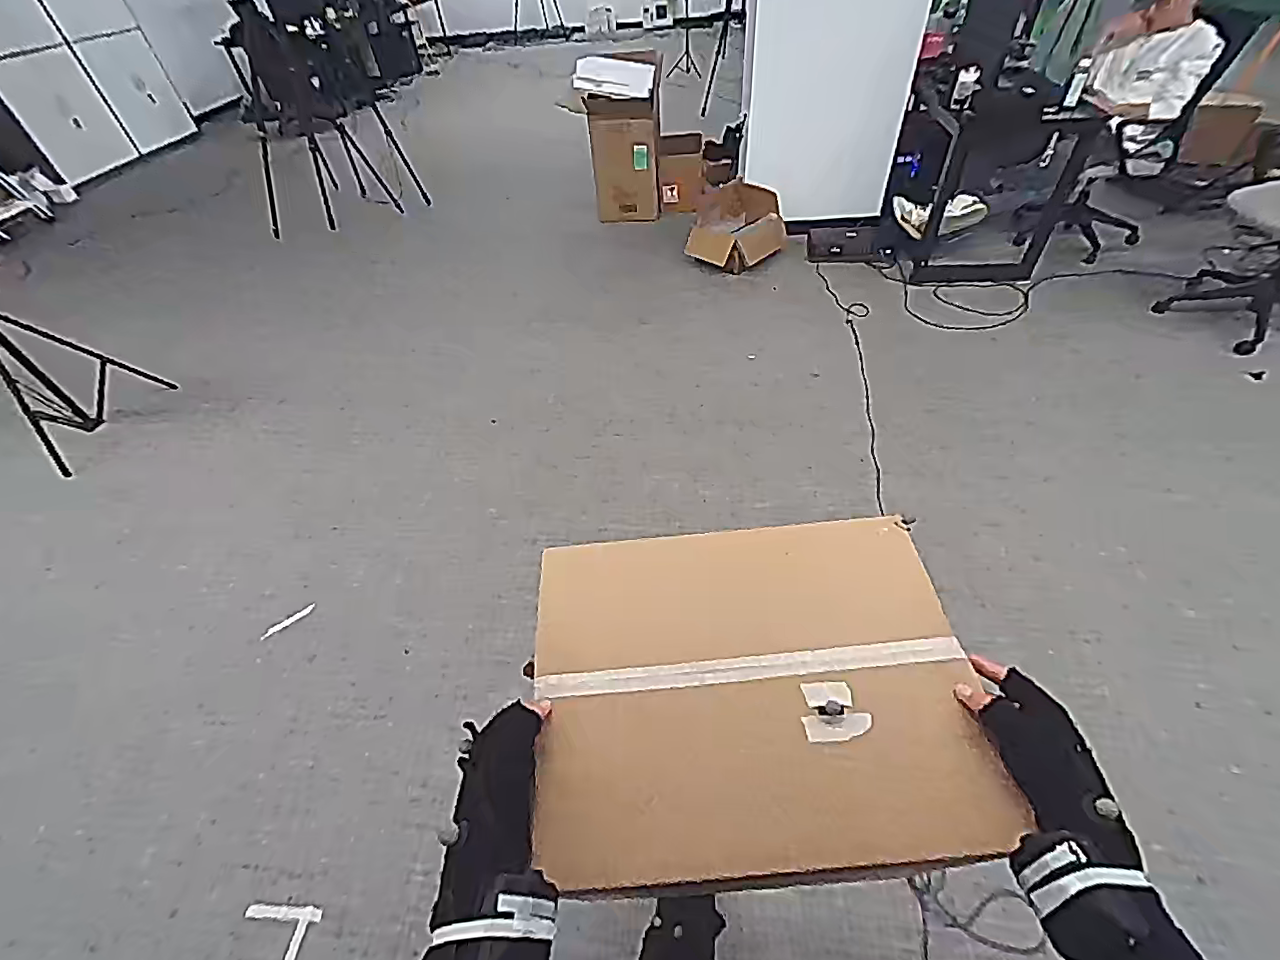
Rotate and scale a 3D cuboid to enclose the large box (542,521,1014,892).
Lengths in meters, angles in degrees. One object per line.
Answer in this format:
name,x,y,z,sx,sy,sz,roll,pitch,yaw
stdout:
large box,0.111,0.280,0.653,0.408,0.320,0.320,-5,52,0
